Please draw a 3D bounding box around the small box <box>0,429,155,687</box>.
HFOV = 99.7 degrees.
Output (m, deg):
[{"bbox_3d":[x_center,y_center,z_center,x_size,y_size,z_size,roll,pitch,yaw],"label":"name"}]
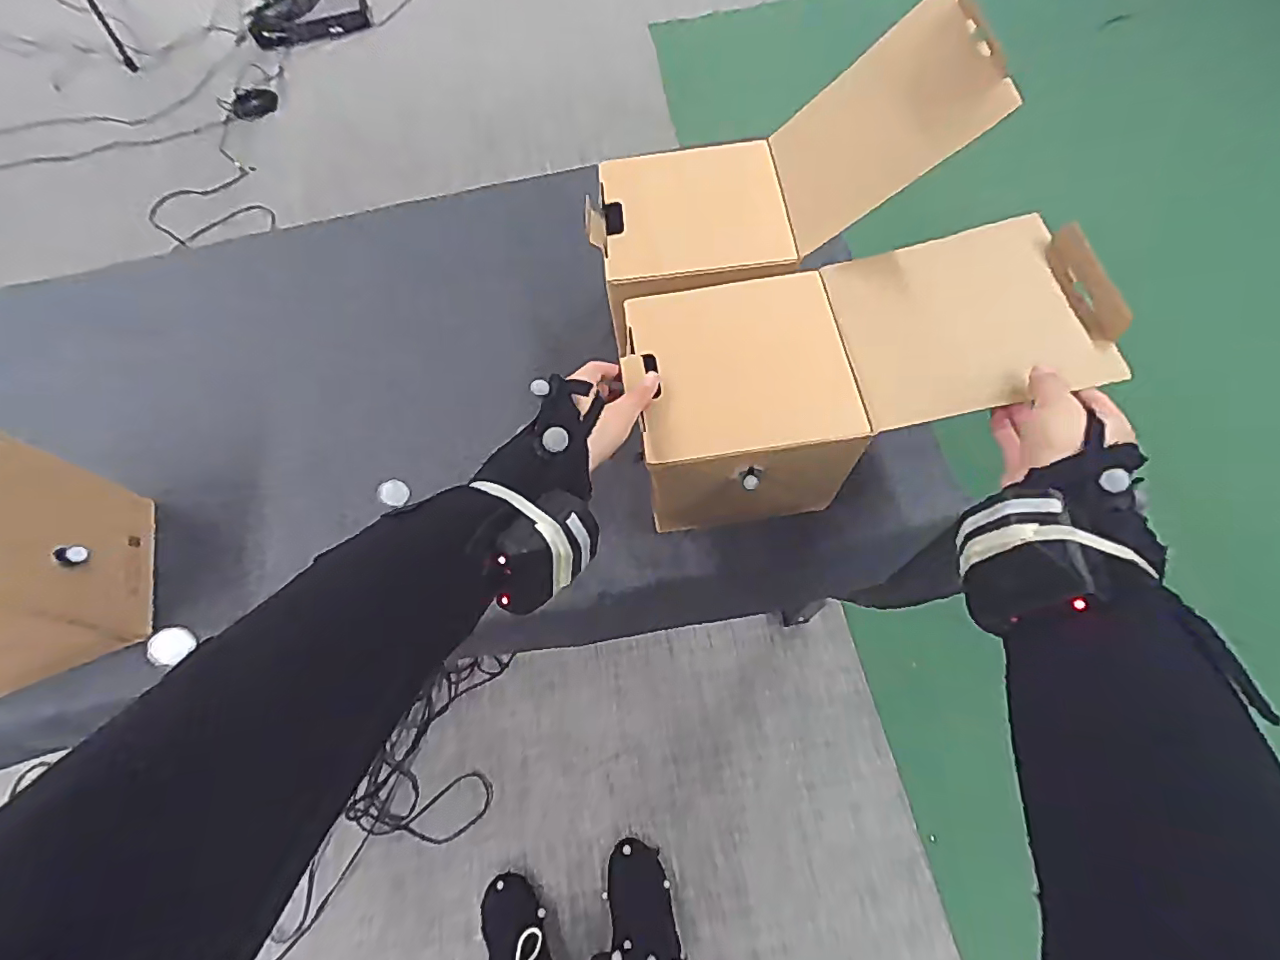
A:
[{"bbox_3d":[-0.608,0.082,0.506,0.179,0.176,0.168,-22,65,-4],"label":"small box"}]
